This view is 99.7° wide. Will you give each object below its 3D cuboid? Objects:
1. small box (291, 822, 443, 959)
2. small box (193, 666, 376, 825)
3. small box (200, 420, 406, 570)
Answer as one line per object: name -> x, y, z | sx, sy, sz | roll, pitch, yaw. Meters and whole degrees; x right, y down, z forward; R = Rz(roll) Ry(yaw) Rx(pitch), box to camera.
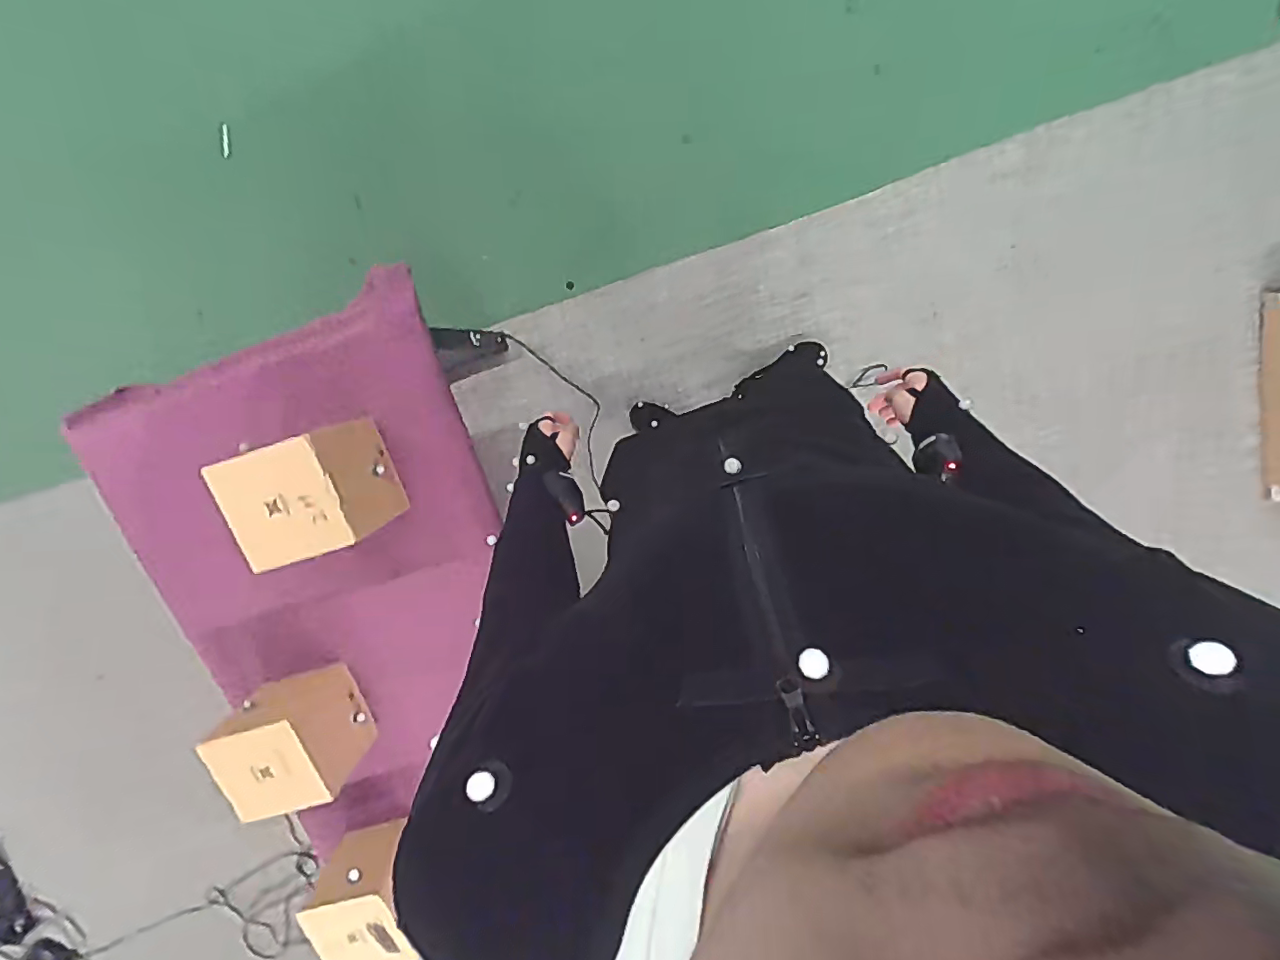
small box -> -0.499, 0.791, 1.025 | 0.179, 0.176, 0.168 | -18, 101, 7
small box -> -0.611, 0.458, 0.953 | 0.179, 0.176, 0.168 | -17, 103, 6
small box -> -0.504, 0.016, 0.836 | 0.179, 0.176, 0.168 | -16, 104, 8
